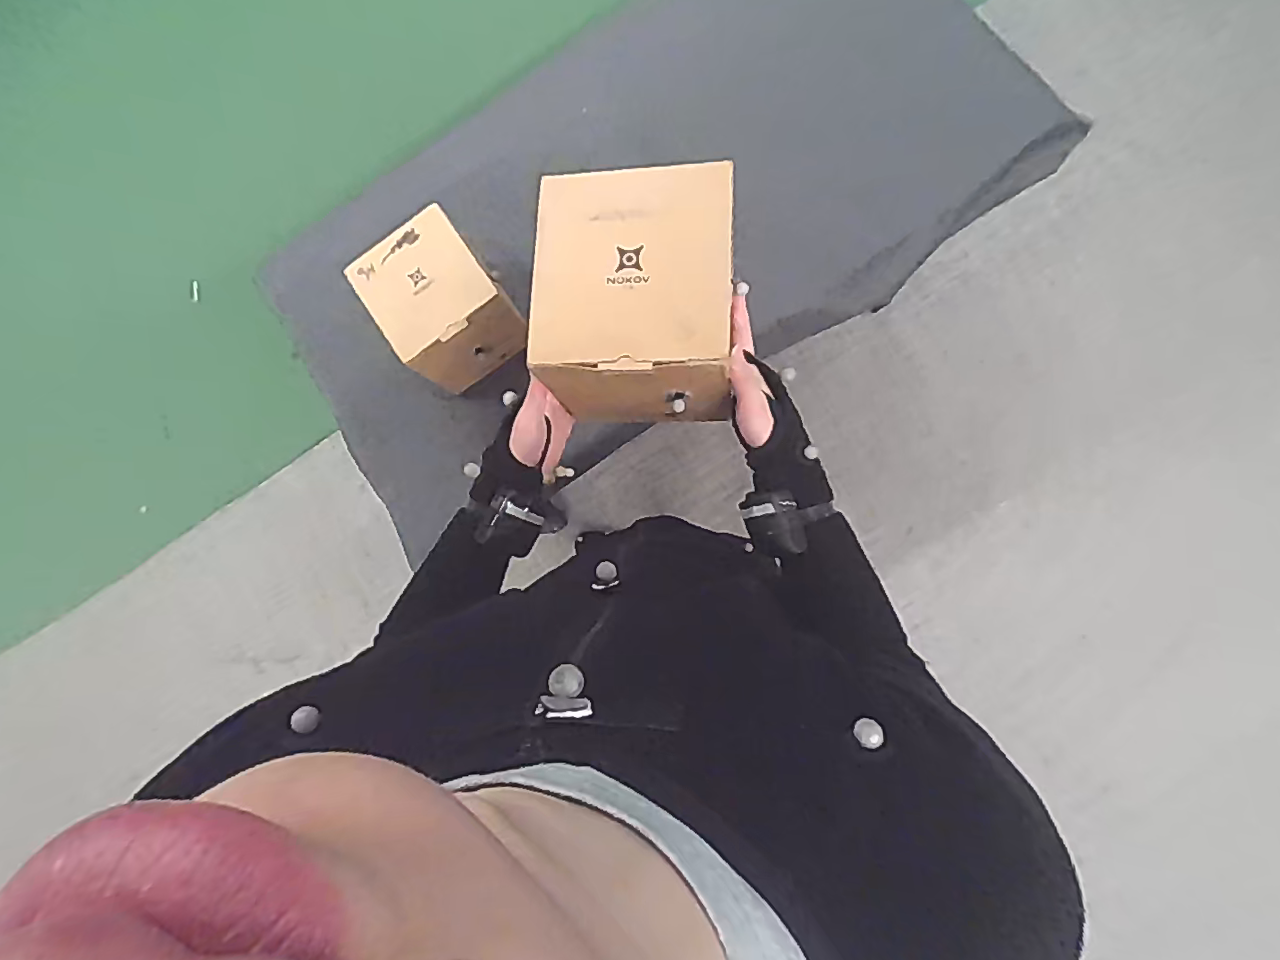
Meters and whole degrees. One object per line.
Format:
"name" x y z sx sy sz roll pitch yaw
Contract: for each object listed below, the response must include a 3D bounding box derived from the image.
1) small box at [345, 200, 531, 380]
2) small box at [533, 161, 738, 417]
"small box" -0.293 -0.271 0.826 0.168 0.176 0.179 -35 83 2
"small box" 0.008 -0.163 0.517 0.168 0.176 0.179 1 80 8
